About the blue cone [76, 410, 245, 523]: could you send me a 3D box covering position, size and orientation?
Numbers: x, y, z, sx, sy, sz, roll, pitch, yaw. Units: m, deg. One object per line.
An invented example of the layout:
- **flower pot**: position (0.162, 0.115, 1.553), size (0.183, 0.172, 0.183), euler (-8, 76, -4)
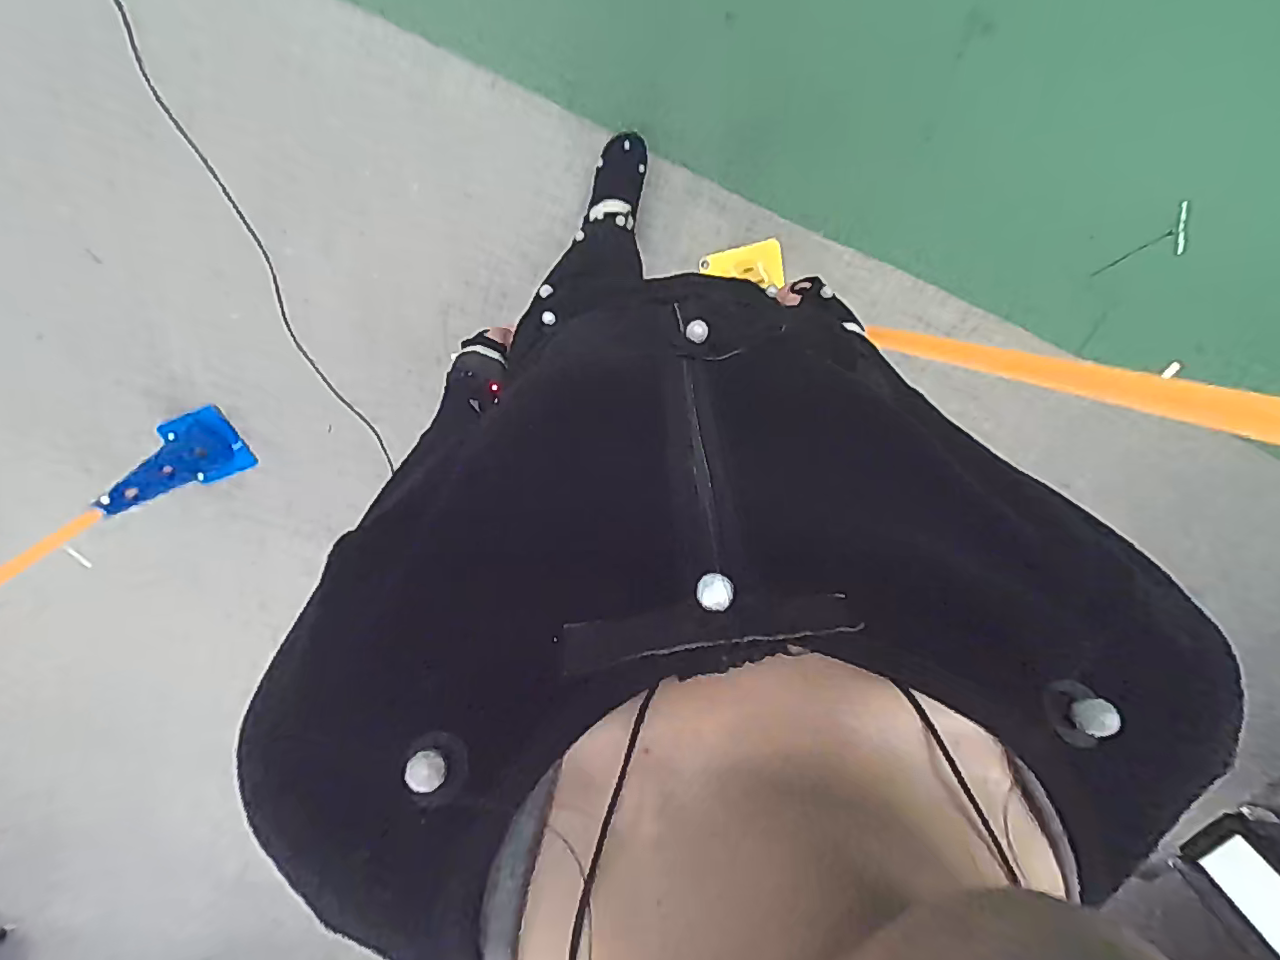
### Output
- **blue cone**: position (-1.212, -0.003, 1.350), size (0.193, 0.380, 0.192), euler (-19, 117, 11)
